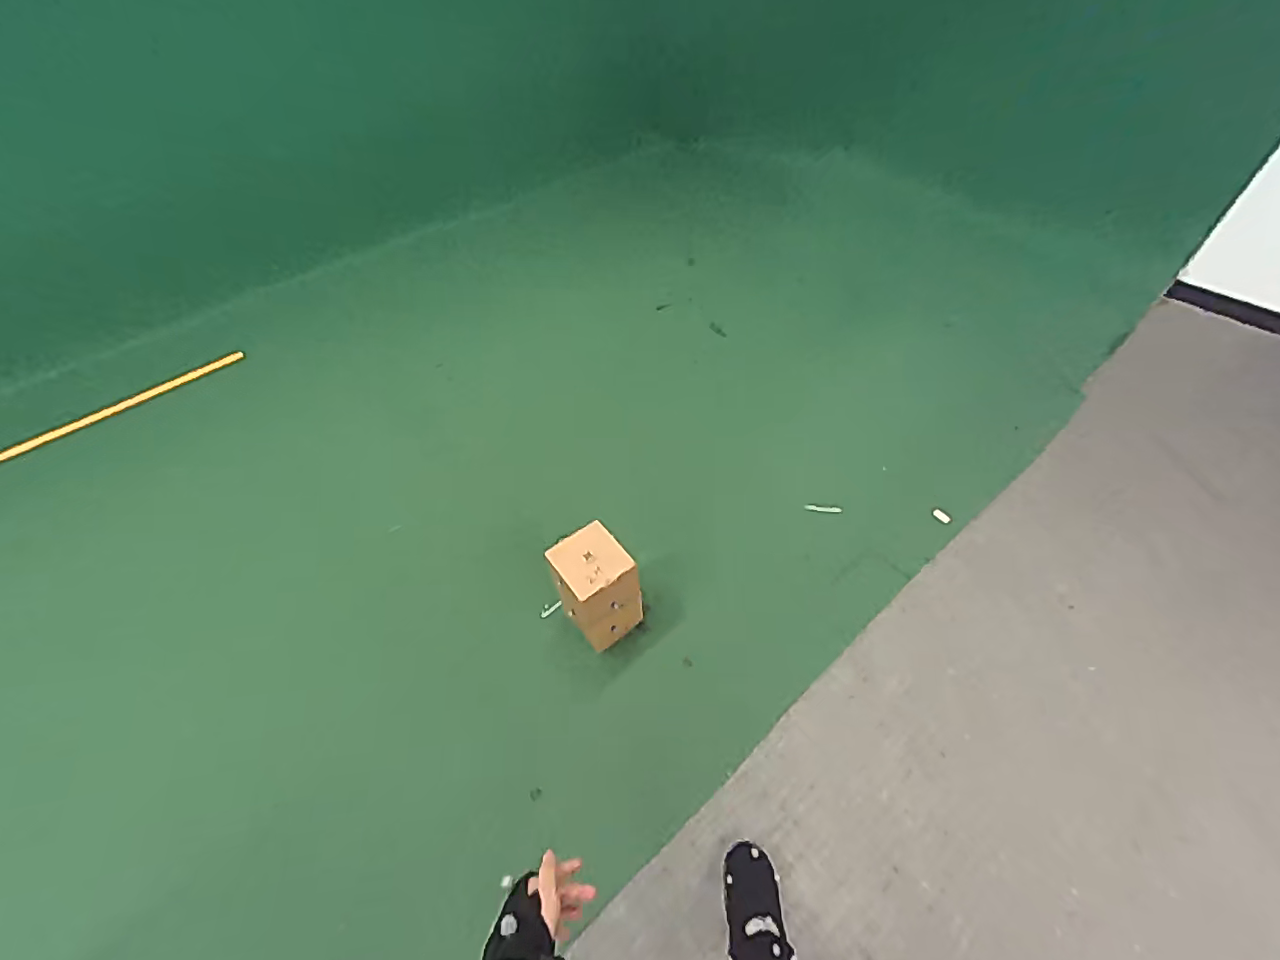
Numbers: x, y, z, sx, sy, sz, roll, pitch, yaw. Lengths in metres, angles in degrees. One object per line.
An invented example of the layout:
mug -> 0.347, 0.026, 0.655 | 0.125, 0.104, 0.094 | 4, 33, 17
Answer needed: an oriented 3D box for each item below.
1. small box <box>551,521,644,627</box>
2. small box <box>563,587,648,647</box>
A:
small box -> -0.107, 0.248, 1.409 | 0.168, 0.176, 0.179 | -33, 55, -19
small box -> -0.092, 0.351, 1.538 | 0.168, 0.176, 0.179 | -35, 55, -21
